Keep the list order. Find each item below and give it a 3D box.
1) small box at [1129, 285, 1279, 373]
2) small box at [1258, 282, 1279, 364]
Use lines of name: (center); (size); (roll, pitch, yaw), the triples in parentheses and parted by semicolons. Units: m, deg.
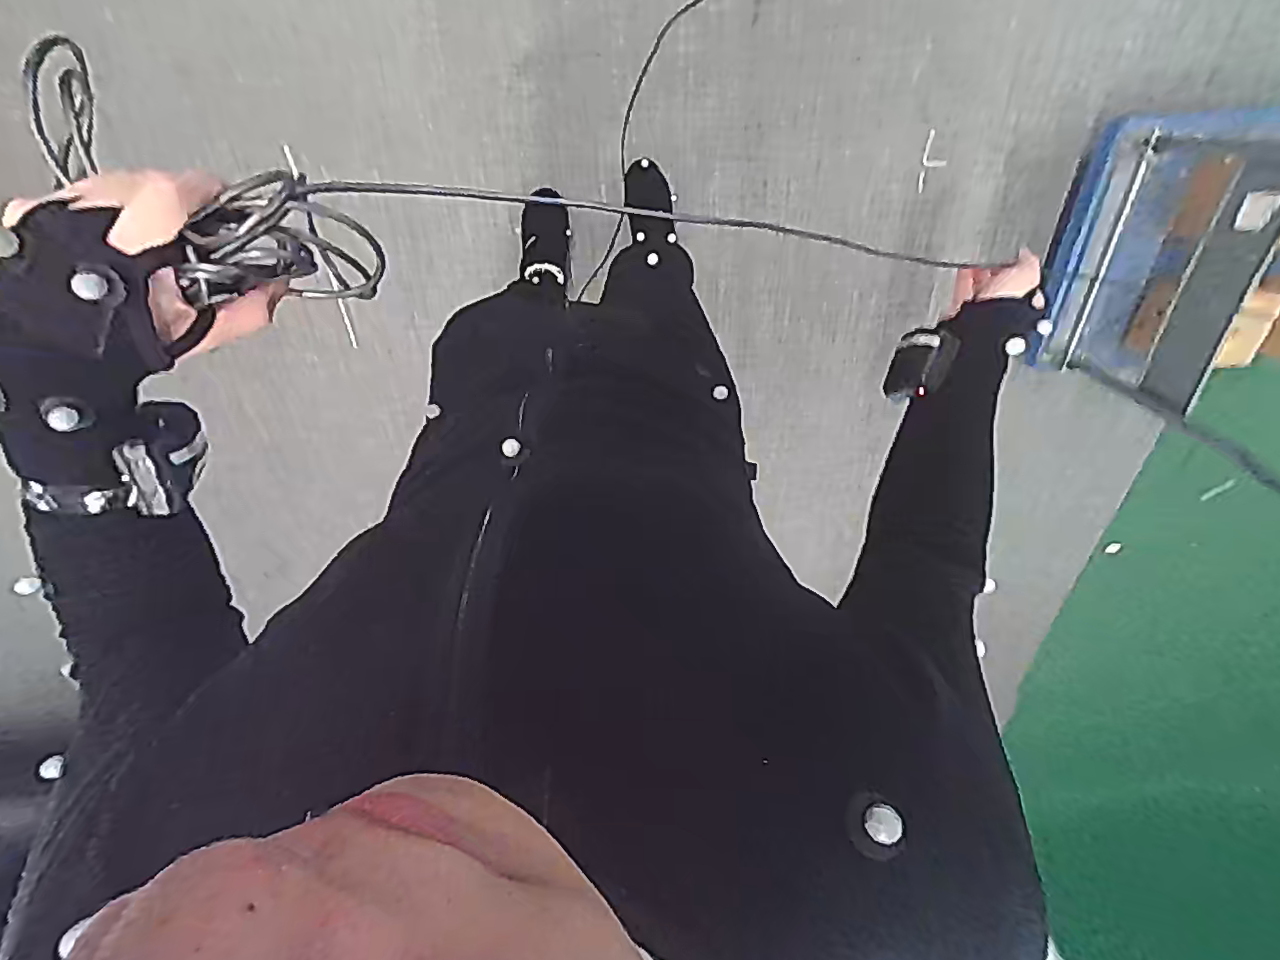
small box: (1.359, -0.367, 1.301); (0.179, 0.176, 0.168); (-2, 123, 0)
small box: (1.628, -0.382, 1.301); (0.179, 0.176, 0.168); (-6, 122, 3)
